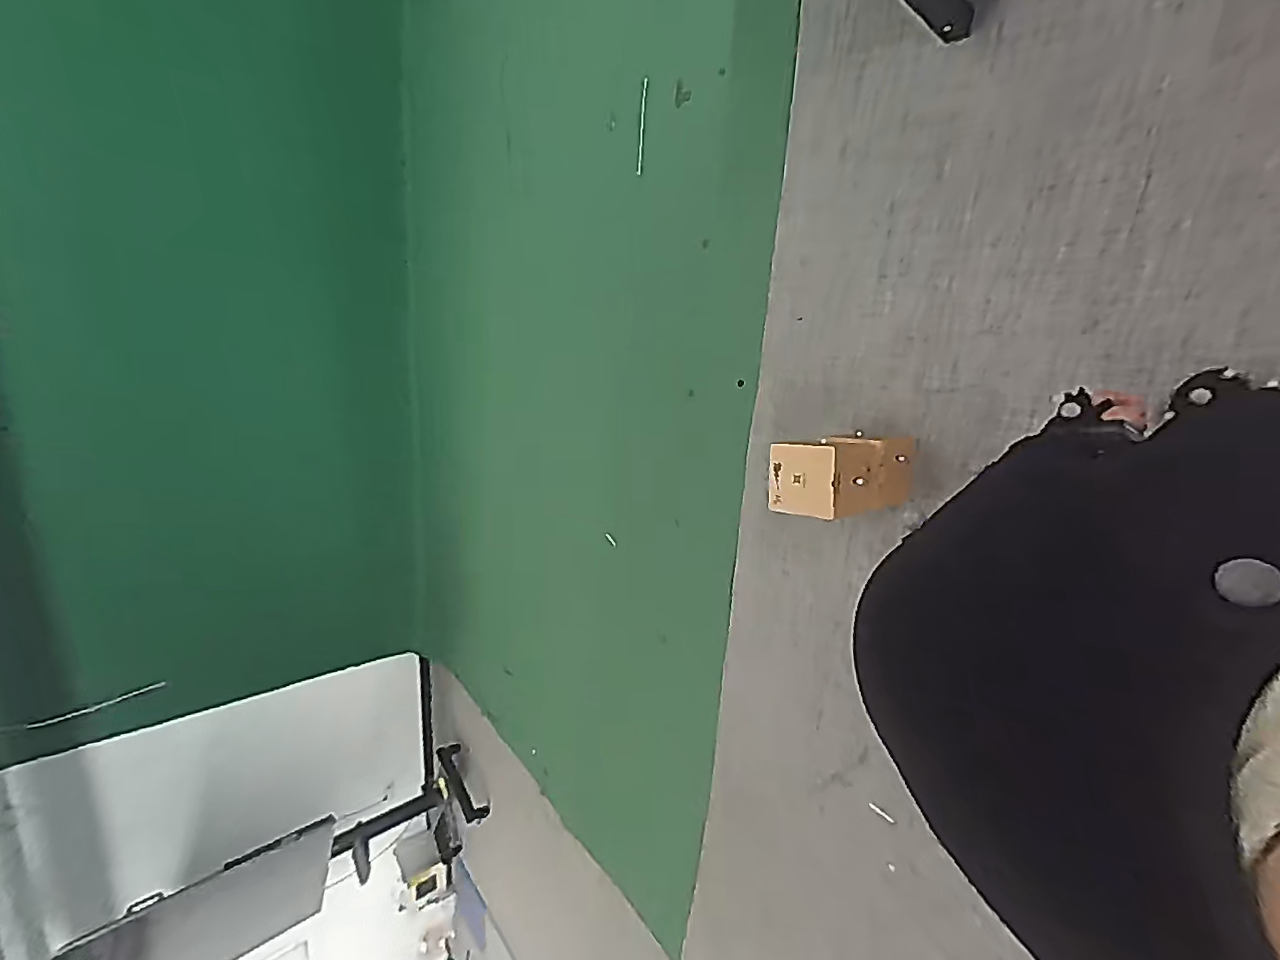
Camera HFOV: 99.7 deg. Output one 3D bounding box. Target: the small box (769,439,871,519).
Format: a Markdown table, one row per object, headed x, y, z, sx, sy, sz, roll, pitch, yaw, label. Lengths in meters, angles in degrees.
| x | y | z | sx | sy | sz | roll | pitch | yaw | label |
| --- | --- | --- | --- | --- | --- | --- | --- | --- | --- |
| 0.431 | -0.010 | 1.292 | 0.179 | 0.176 | 0.168 | 8 | 101 | 48 | small box |

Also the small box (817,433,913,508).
| x | y | z | sx | sy | sz | roll | pitch | yaw | label |
| --- | --- | --- | --- | --- | --- | --- | --- | --- | --- |
| 0.571 | -0.031 | 1.379 | 0.179 | 0.176 | 0.168 | 10 | 102 | 50 | small box |
